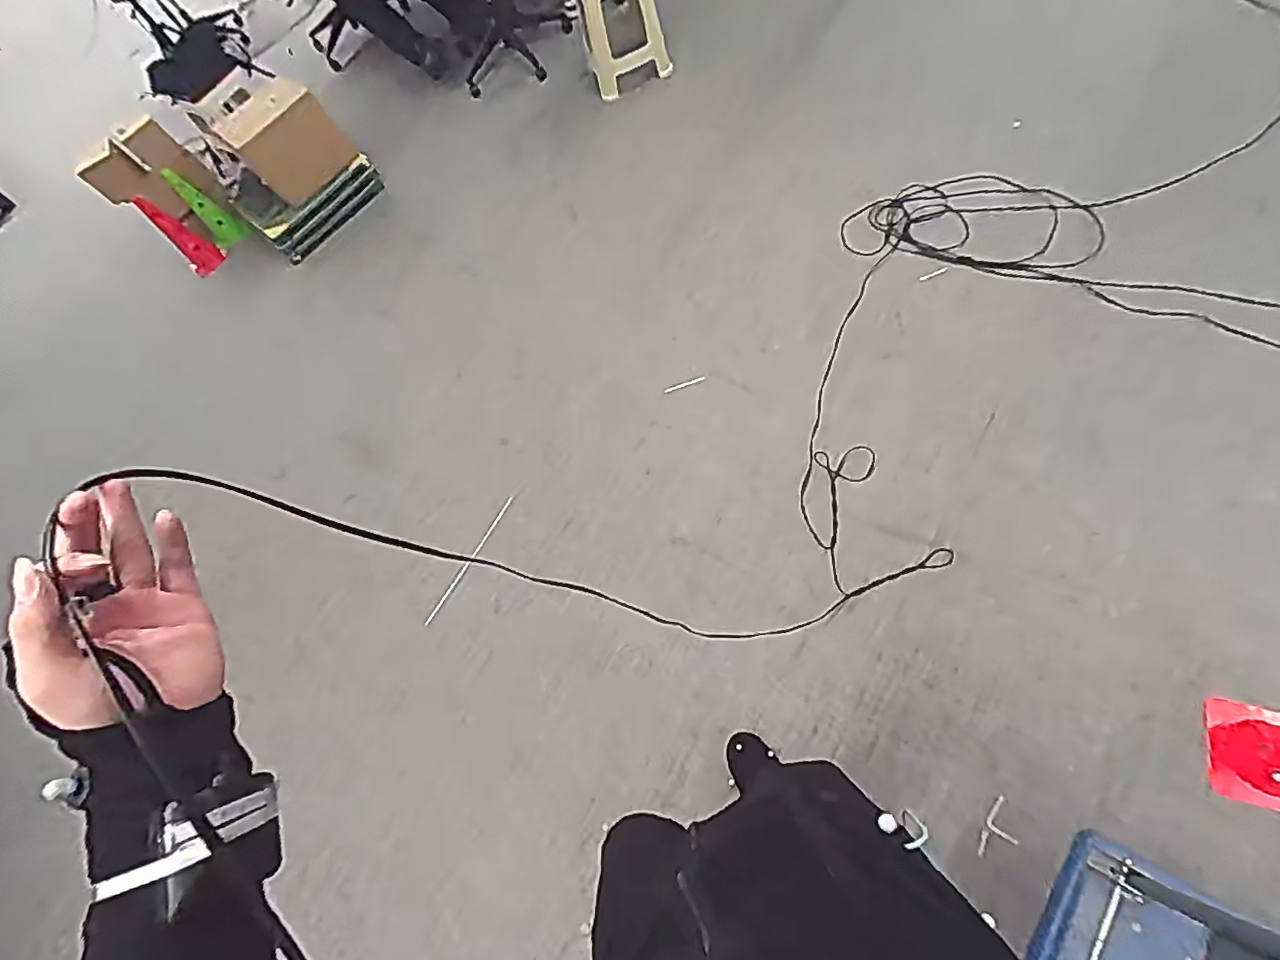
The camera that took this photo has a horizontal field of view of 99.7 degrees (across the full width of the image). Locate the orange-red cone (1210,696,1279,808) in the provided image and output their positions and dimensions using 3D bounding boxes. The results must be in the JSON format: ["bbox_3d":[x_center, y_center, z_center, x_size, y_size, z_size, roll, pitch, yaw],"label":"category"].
[{"bbox_3d":[1.272,0.506,0.970,0.198,0.360,0.199,12,69,18],"label":"orange-red cone"}]
